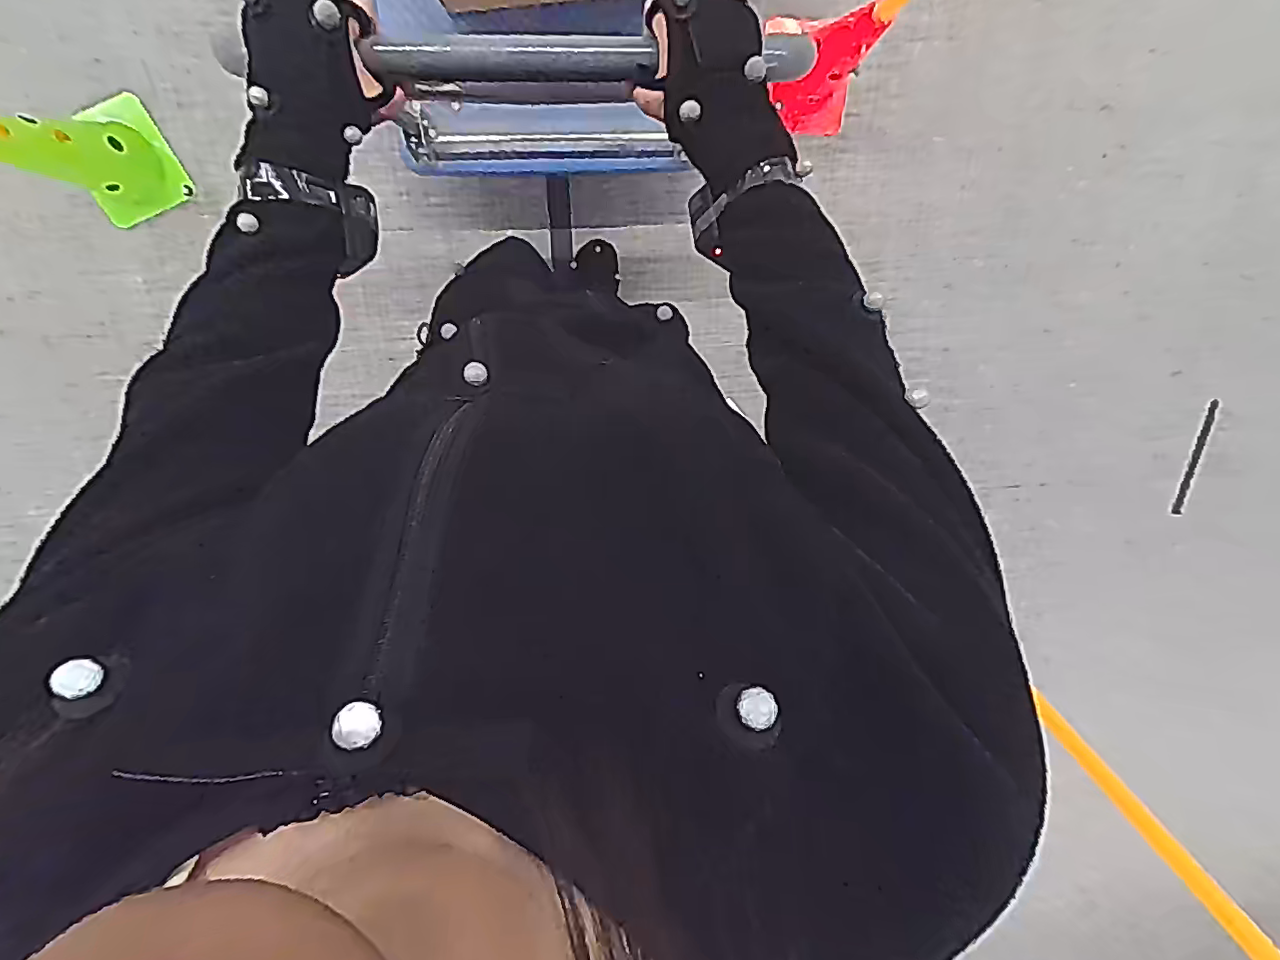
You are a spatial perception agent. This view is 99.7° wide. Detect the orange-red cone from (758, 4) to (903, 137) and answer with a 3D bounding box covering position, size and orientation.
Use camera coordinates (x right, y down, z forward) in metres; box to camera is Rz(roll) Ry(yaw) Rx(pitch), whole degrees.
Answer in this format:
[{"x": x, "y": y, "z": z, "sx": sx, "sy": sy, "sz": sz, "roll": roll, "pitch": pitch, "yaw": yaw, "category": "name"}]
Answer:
[{"x": 0.377, "y": -0.788, "z": 0.999, "sx": 0.199, "sy": 0.360, "sz": 0.198, "roll": 3, "pitch": 113, "yaw": -7, "category": "orange-red cone"}]
